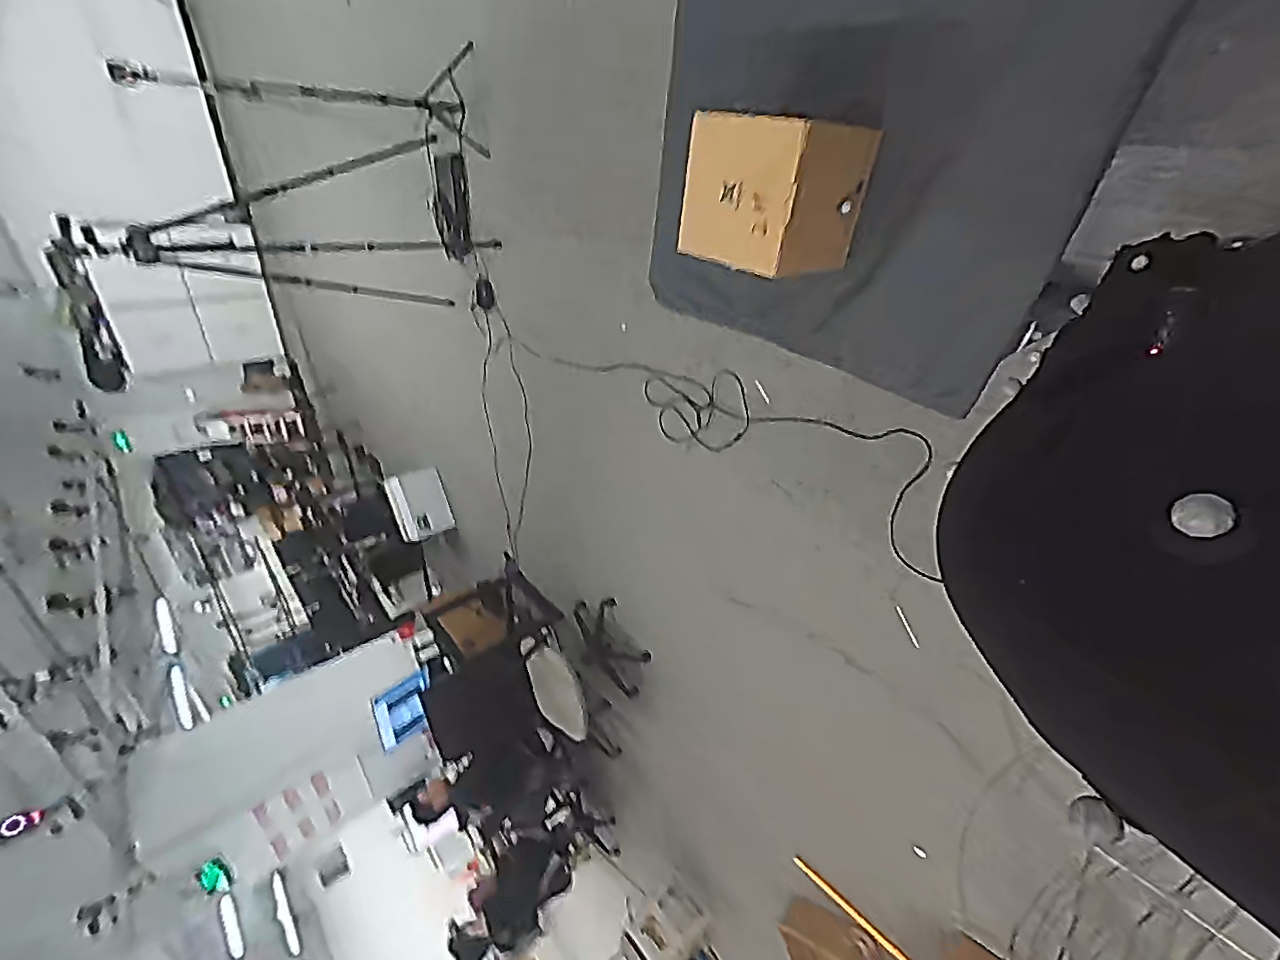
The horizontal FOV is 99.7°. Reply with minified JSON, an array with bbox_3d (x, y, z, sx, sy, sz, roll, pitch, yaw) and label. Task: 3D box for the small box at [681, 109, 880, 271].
[{"bbox_3d":[0.183,-0.390,0.729,0.179,0.176,0.168,34,133,37],"label":"small box"}]
